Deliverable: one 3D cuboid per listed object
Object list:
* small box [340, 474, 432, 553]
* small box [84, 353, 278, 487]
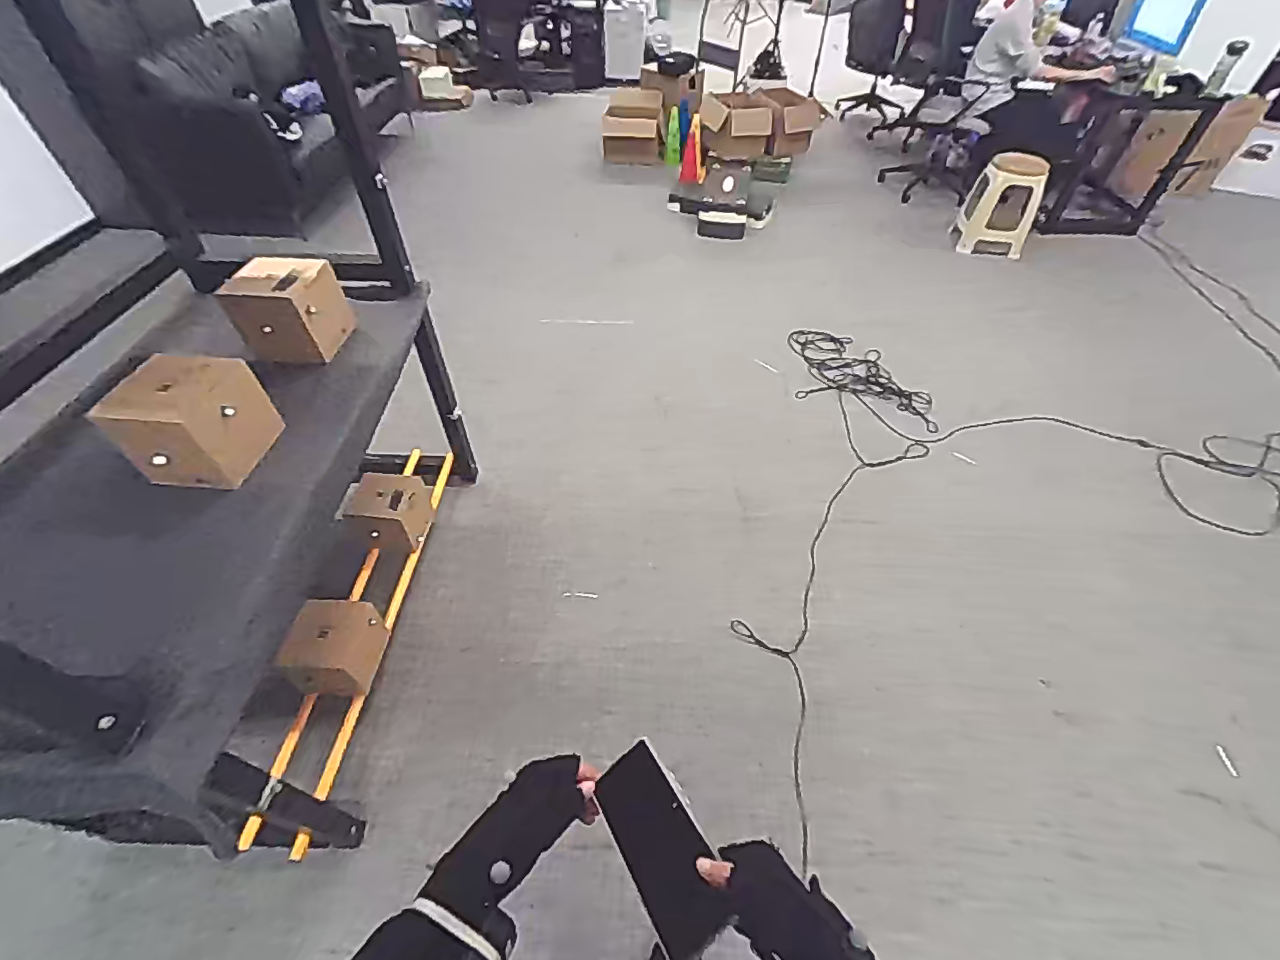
[{"bbox_3d":[-0.751,0.104,1.624,0.179,0.176,0.168,5,48,3],"label":"small box"},{"bbox_3d":[-0.799,-0.105,0.971,0.168,0.176,0.179,4,48,3],"label":"small box"}]
